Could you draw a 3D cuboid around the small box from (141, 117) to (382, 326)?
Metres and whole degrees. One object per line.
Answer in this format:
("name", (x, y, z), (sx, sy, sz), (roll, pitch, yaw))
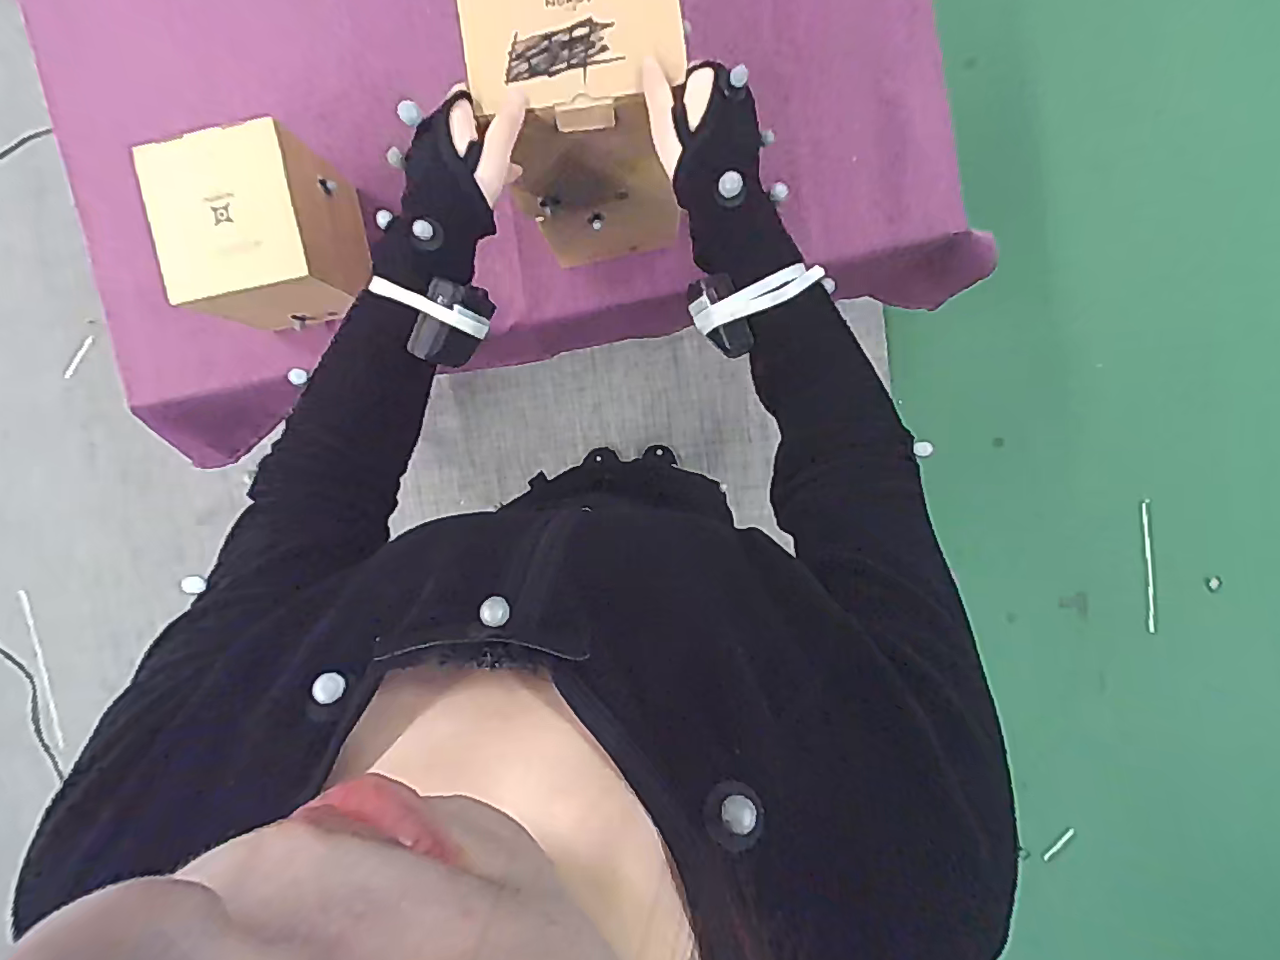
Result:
("small box", (-0.456, -0.308, 0.681), (0.168, 0.176, 0.179), (-10, 95, 3))

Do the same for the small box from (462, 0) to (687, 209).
("small box", (-0.051, -0.368, 0.487), (0.168, 0.176, 0.179), (-8, 91, 1))

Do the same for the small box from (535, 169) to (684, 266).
("small box", (-0.044, -0.389, 0.664), (0.168, 0.176, 0.179), (-10, 94, 3))
